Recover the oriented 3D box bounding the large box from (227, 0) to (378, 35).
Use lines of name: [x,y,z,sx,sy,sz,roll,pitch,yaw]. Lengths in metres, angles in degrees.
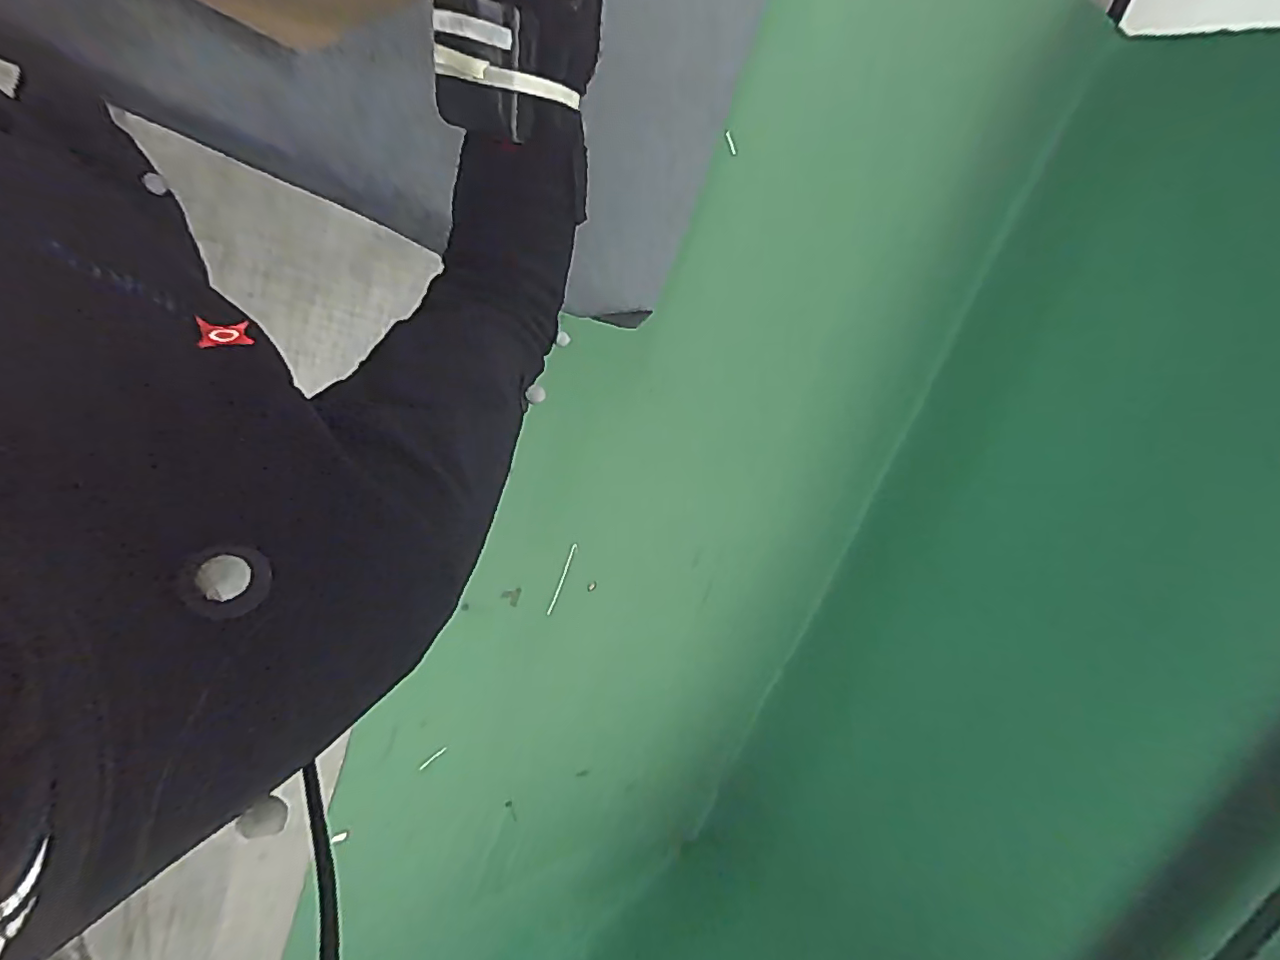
large box: [-0.294,-0.470,0.202,0.408,0.320,0.320,1,114,-47]
